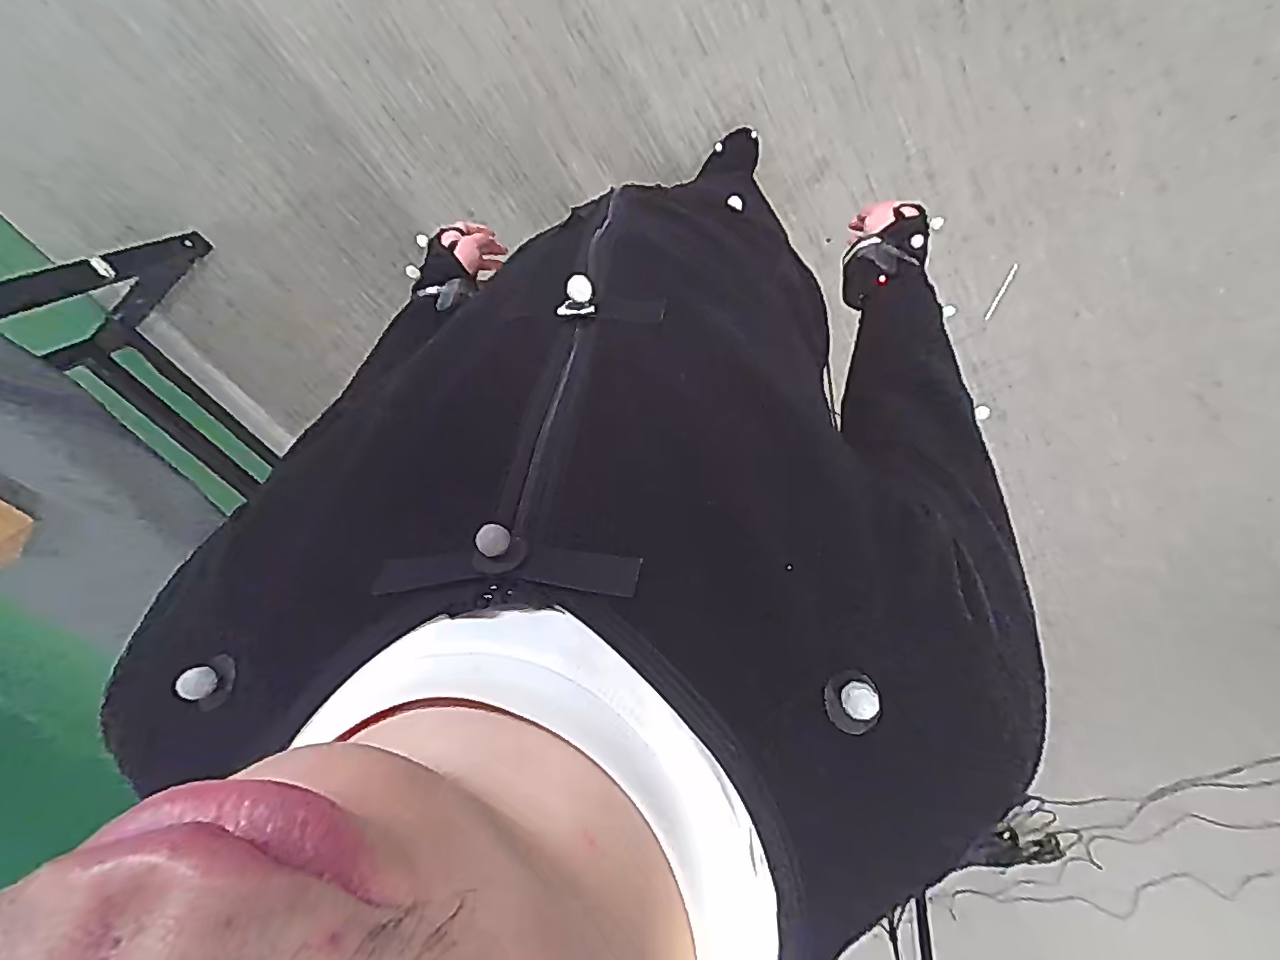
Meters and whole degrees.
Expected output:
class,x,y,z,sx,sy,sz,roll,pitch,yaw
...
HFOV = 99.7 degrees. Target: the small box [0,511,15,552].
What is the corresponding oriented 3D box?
class,x,y,z,sx,sy,sz,roll,pitch,yaw
small box,-1.423,0.109,1.072,0.179,0.176,0.168,-34,112,27
